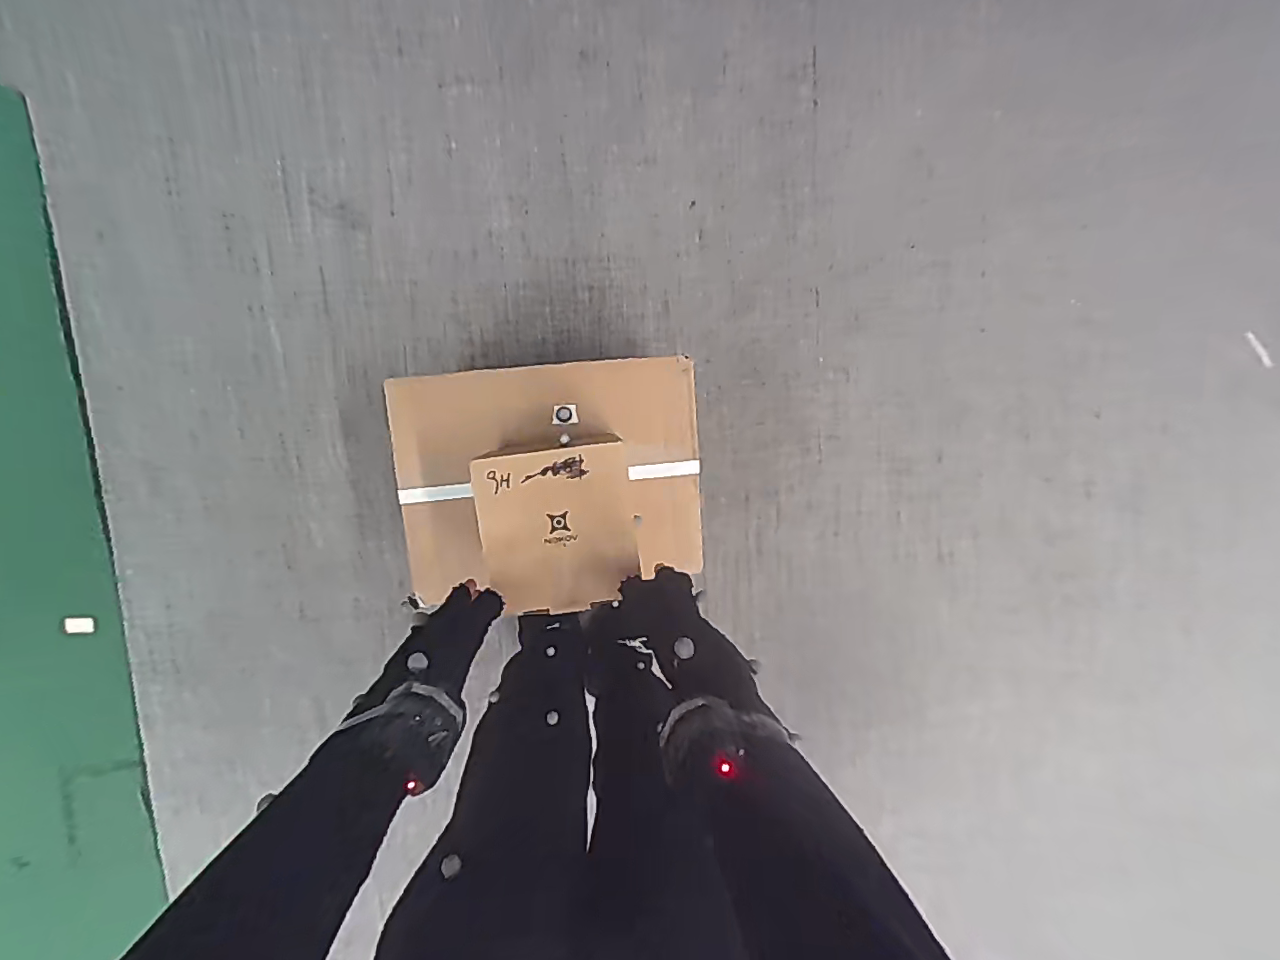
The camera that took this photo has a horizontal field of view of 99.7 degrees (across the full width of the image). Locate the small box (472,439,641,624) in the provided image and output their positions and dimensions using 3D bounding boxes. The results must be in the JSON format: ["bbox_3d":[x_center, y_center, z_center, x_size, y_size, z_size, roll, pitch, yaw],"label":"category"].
[{"bbox_3d":[-0.092,0.051,0.657,0.168,0.176,0.179,-7,99,-4],"label":"small box"}]
